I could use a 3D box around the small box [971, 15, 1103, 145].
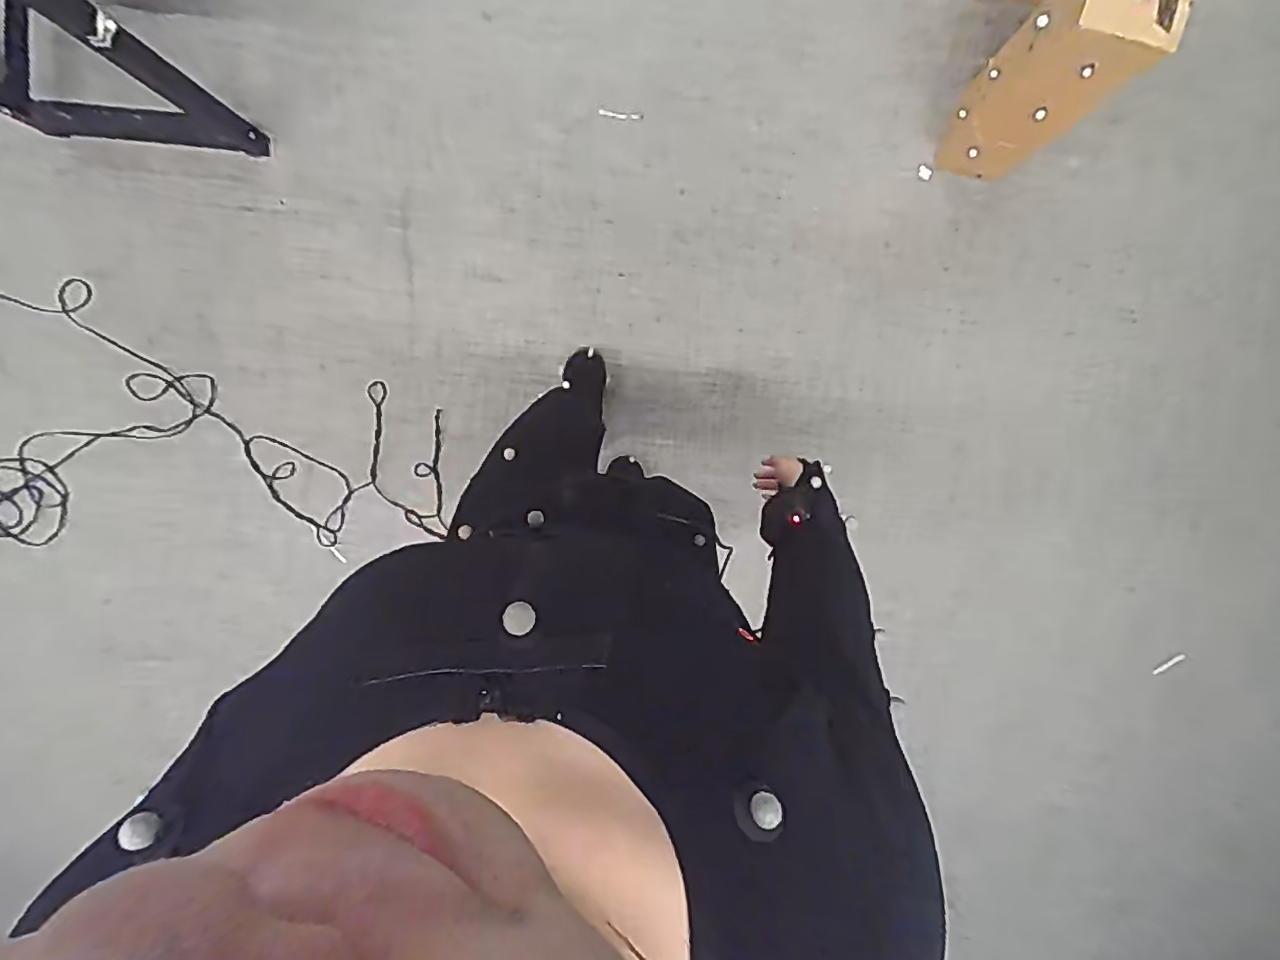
[{"bbox_3d":[0.857,-0.848,1.149,0.179,0.176,0.168,14,97,0],"label":"small box"}]

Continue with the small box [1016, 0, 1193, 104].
[{"bbox_3d":[0.846,-0.830,0.986,0.179,0.176,0.168,16,97,0],"label":"small box"}]
